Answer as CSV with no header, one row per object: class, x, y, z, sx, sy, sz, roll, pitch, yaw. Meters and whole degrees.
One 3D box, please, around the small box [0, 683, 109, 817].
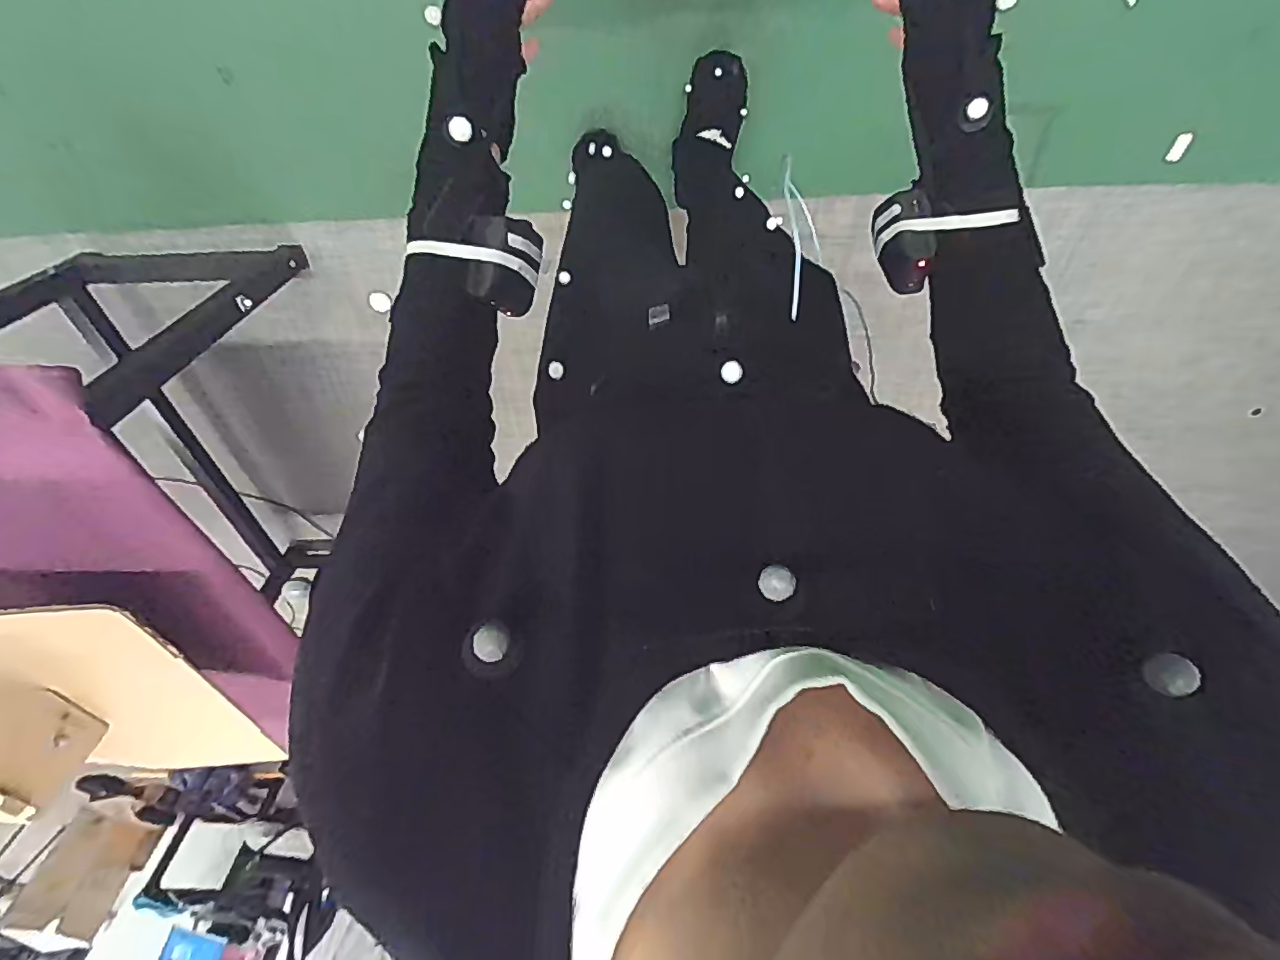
small box,-1.141,0.480,0.971,0.179,0.176,0.168,2,134,2
